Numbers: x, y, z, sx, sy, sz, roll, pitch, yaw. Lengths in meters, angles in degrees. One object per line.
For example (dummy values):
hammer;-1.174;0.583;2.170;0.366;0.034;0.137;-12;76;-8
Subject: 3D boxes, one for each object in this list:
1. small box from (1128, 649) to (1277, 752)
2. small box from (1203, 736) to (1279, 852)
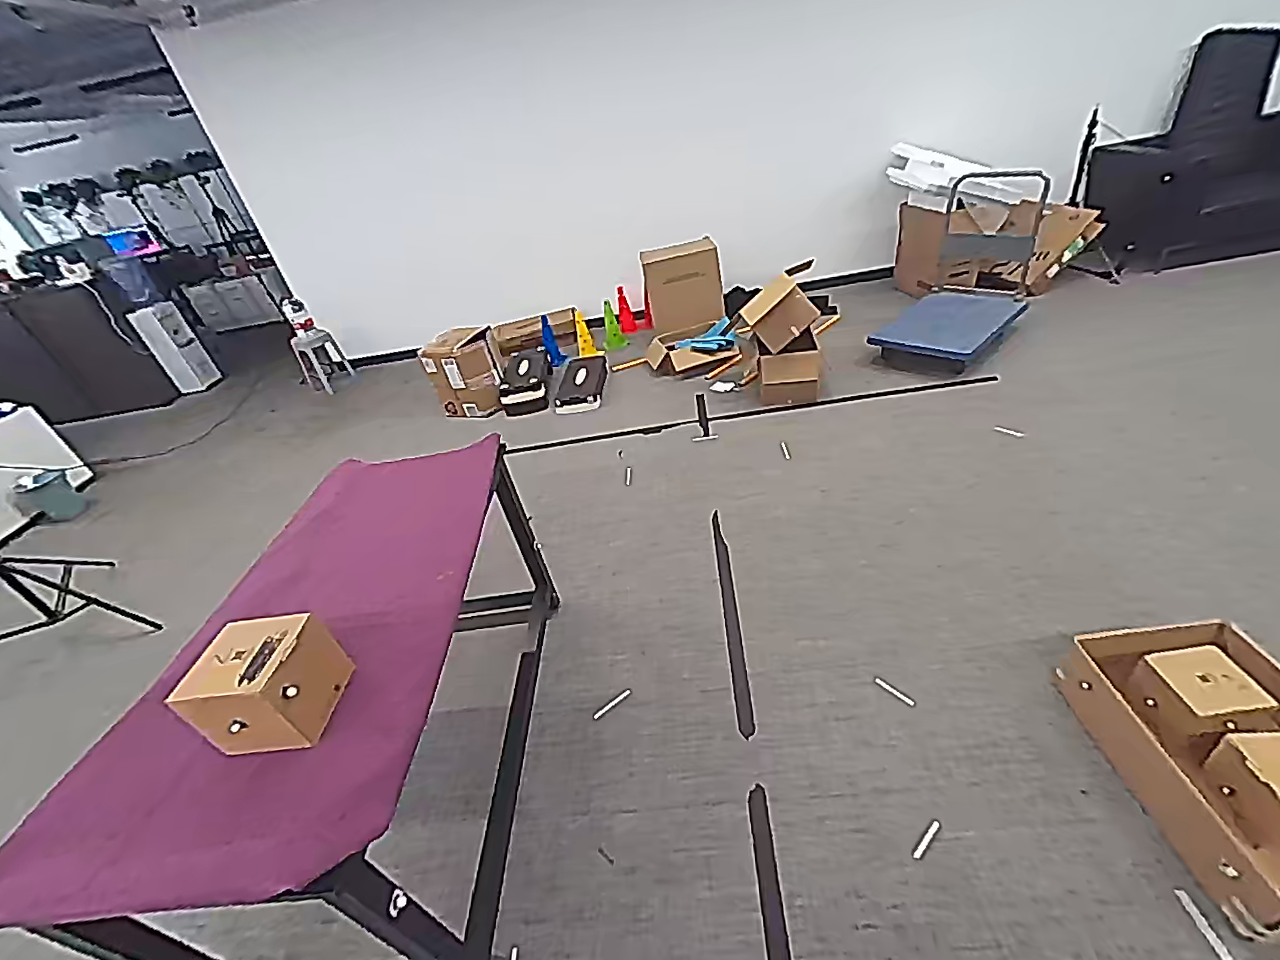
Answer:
small box;1.358;0.545;1.327;0.179;0.176;0.168;-9;36;4
small box;1.379;0.668;1.149;0.179;0.176;0.168;-6;34;10
